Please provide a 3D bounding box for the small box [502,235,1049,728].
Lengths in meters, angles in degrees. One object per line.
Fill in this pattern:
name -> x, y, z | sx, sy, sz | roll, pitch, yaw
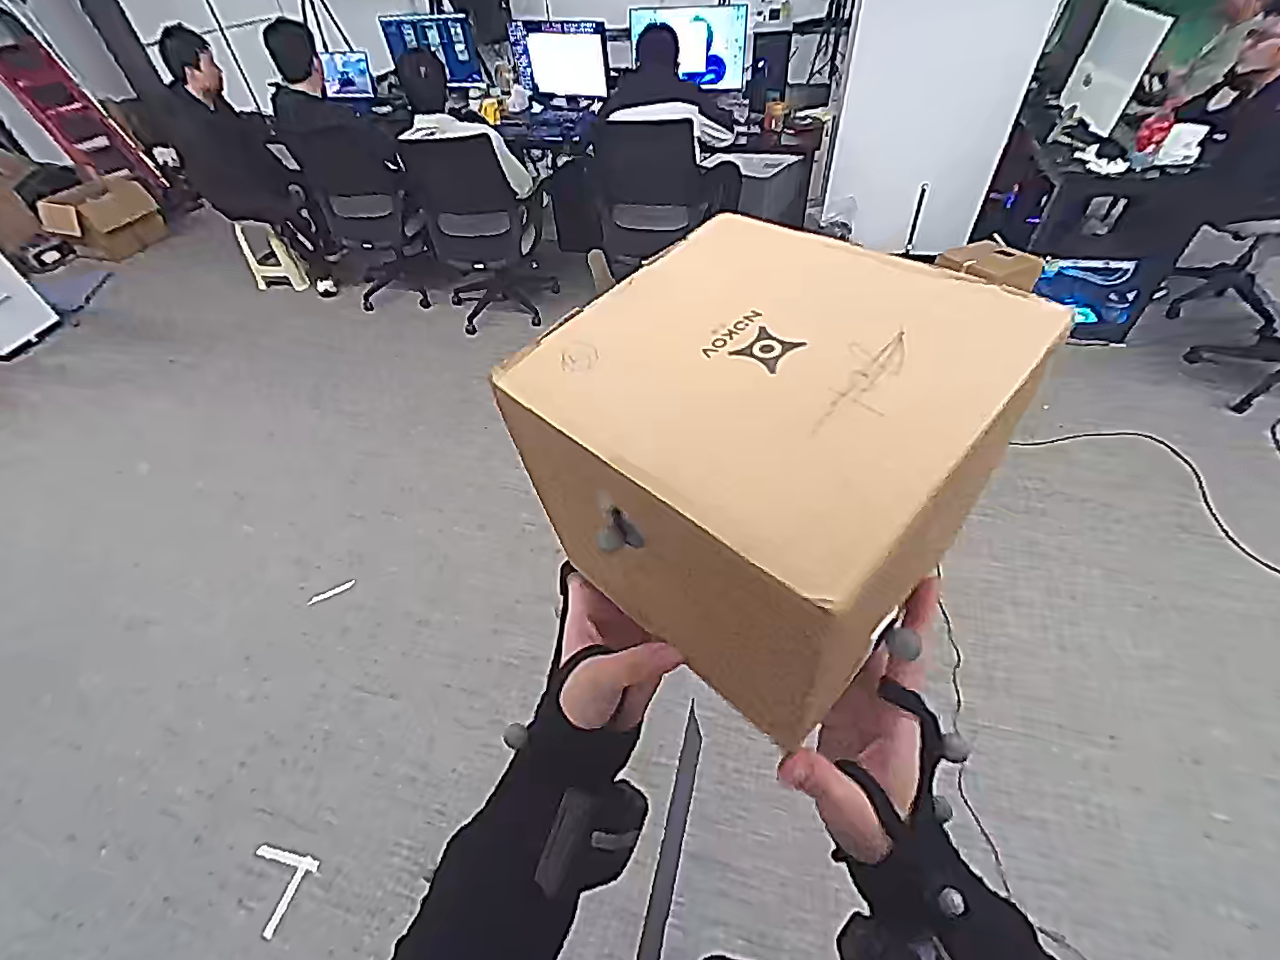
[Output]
small box -> 0.062, 0.002, 0.295 | 0.179, 0.176, 0.168 | 33, 65, 29
